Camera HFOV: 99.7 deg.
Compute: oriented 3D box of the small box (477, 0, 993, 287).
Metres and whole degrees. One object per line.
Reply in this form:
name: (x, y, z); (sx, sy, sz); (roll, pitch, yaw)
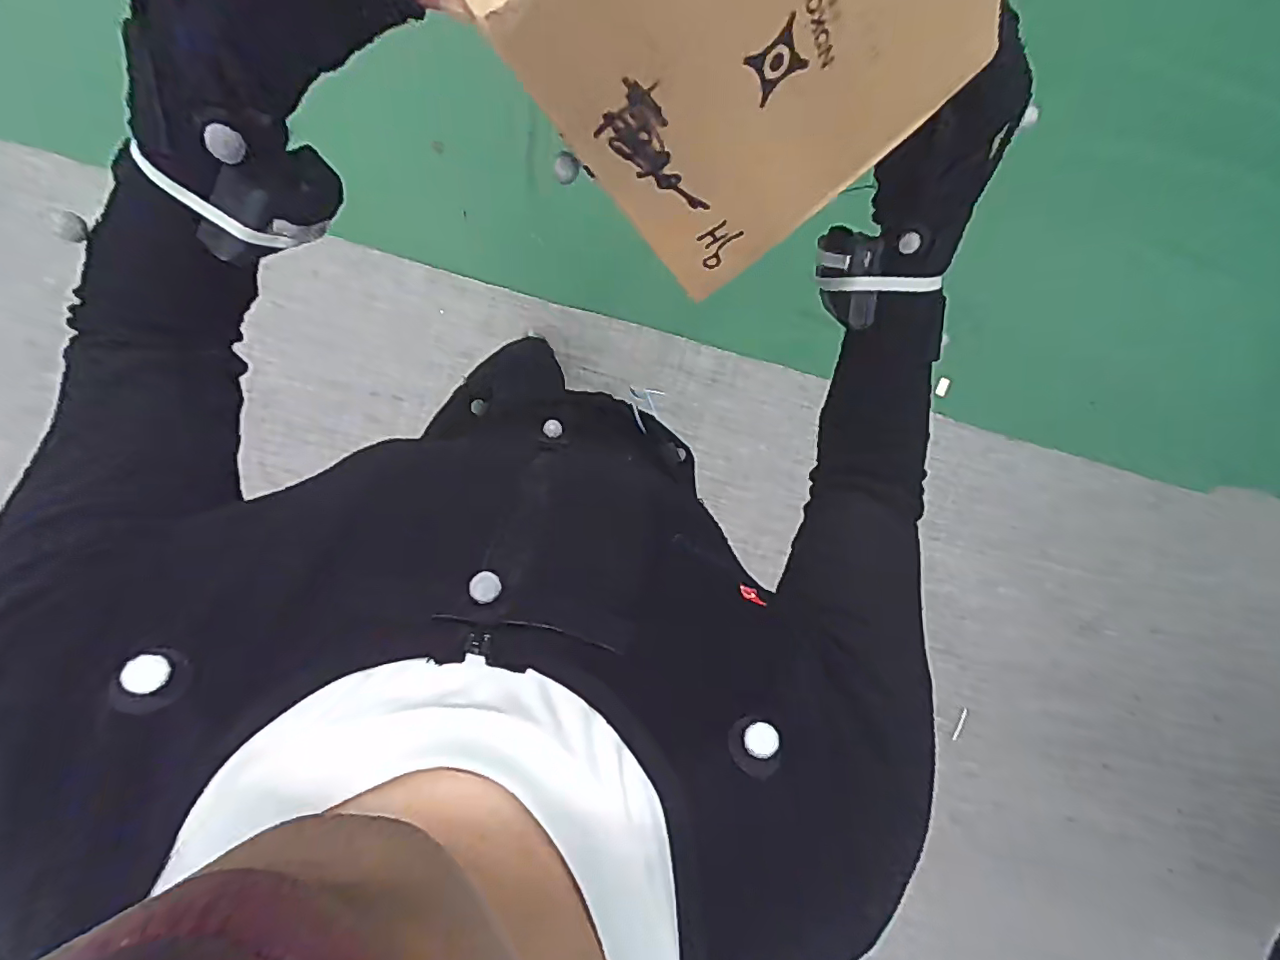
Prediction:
small box: (0.029, -0.239, 0.251); (0.179, 0.168, 0.176); (-38, 61, 16)
